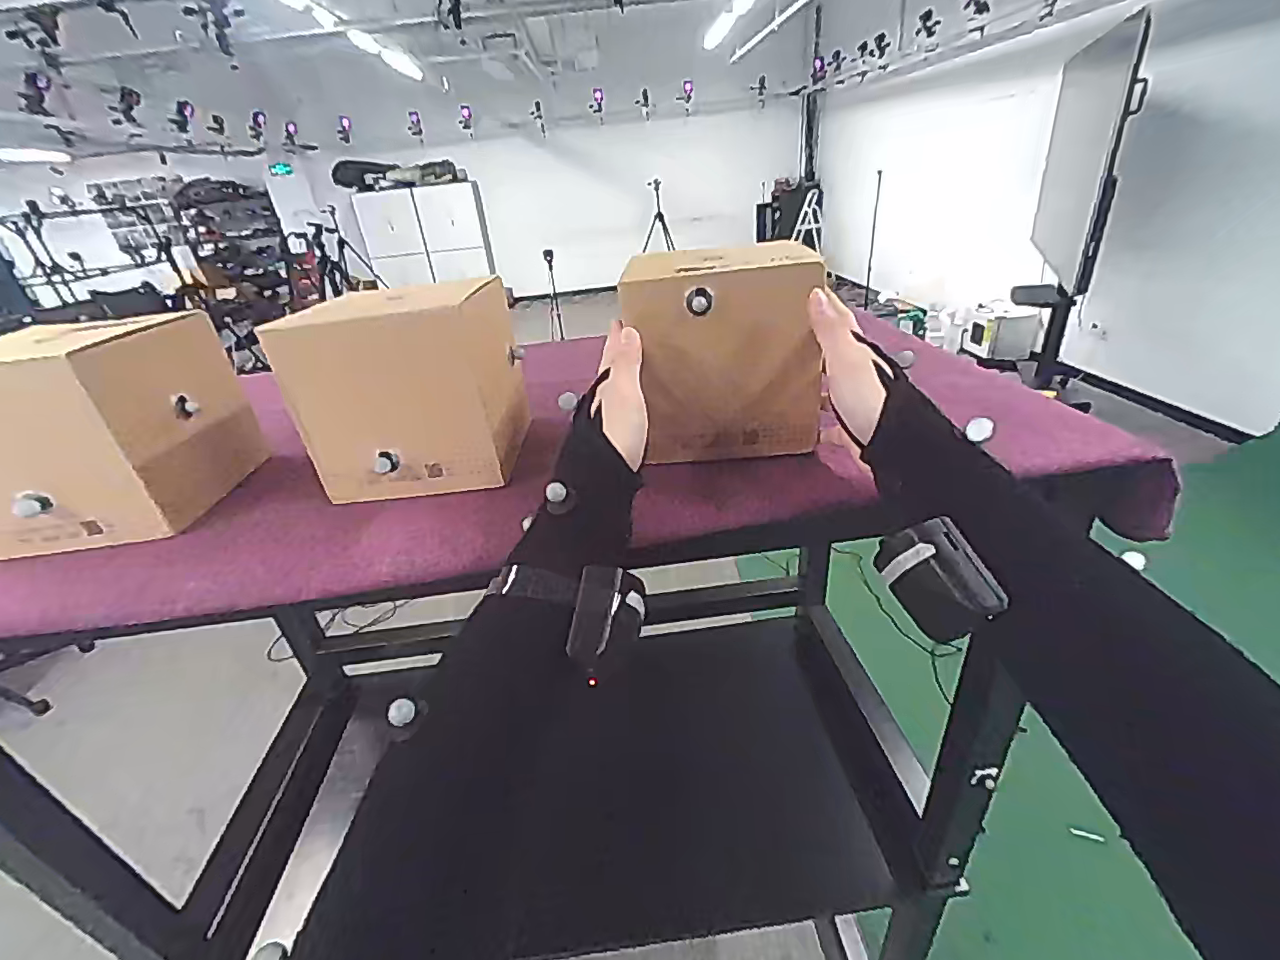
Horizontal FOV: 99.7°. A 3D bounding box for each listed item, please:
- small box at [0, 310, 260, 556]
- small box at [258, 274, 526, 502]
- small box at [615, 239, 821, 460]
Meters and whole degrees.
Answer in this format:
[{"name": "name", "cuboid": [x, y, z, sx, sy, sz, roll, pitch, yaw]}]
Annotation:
[{"name": "small box", "cuboid": [-0.504, -0.052, 0.510, 0.168, 0.176, 0.179, -8, 29, -2]}, {"name": "small box", "cuboid": [-0.217, -0.097, 0.536, 0.168, 0.176, 0.179, -7, 29, 1]}, {"name": "small box", "cuboid": [0.075, -0.133, 0.535, 0.168, 0.176, 0.179, -5, 28, 7]}]
